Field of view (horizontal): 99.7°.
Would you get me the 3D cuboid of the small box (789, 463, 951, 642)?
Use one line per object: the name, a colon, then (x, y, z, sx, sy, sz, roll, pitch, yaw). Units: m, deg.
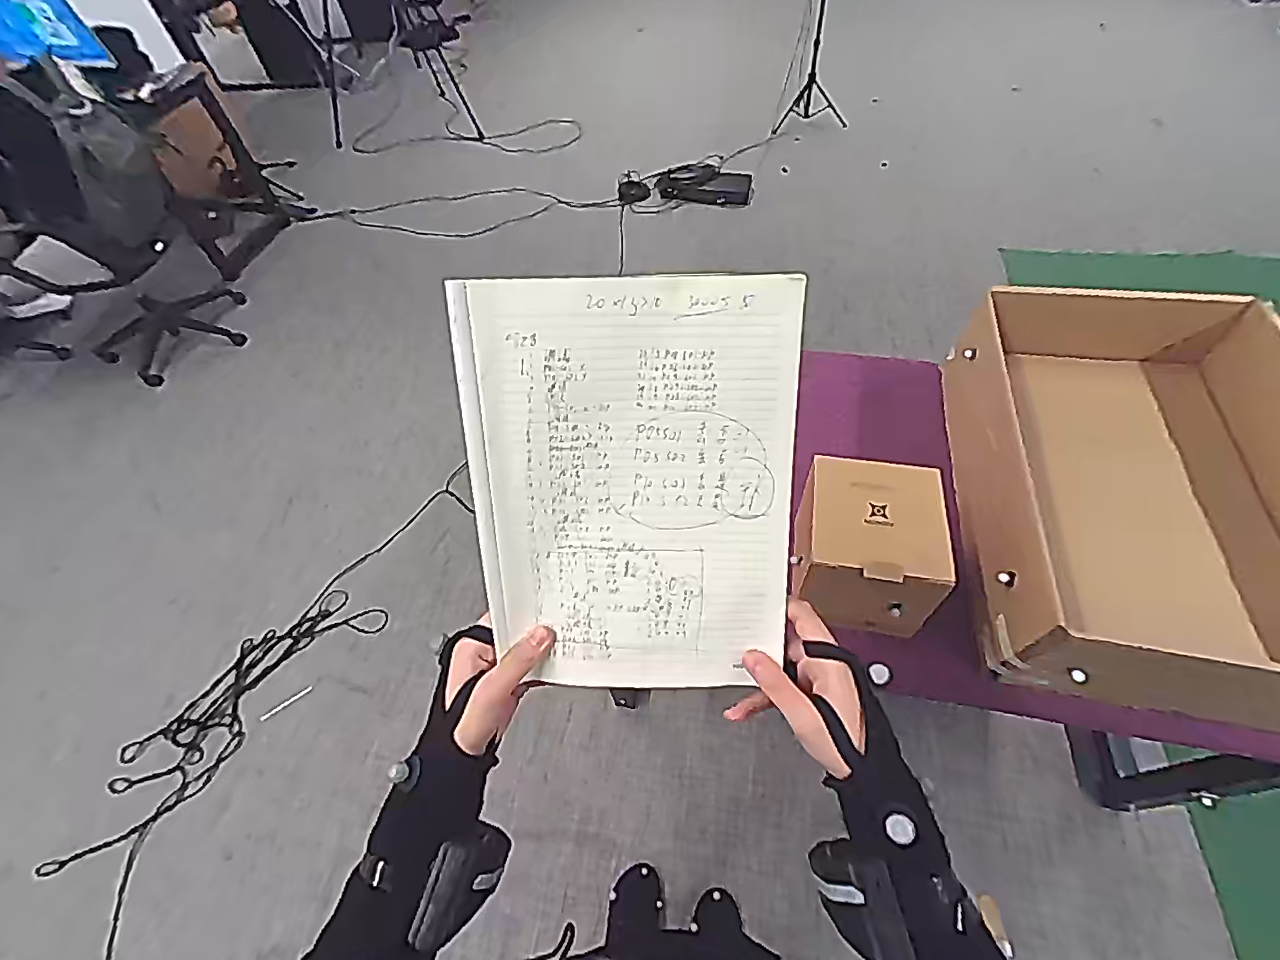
small box: (0.305, 0.104, 0.751, 0.168, 0.176, 0.179, 8, 52, 10)
